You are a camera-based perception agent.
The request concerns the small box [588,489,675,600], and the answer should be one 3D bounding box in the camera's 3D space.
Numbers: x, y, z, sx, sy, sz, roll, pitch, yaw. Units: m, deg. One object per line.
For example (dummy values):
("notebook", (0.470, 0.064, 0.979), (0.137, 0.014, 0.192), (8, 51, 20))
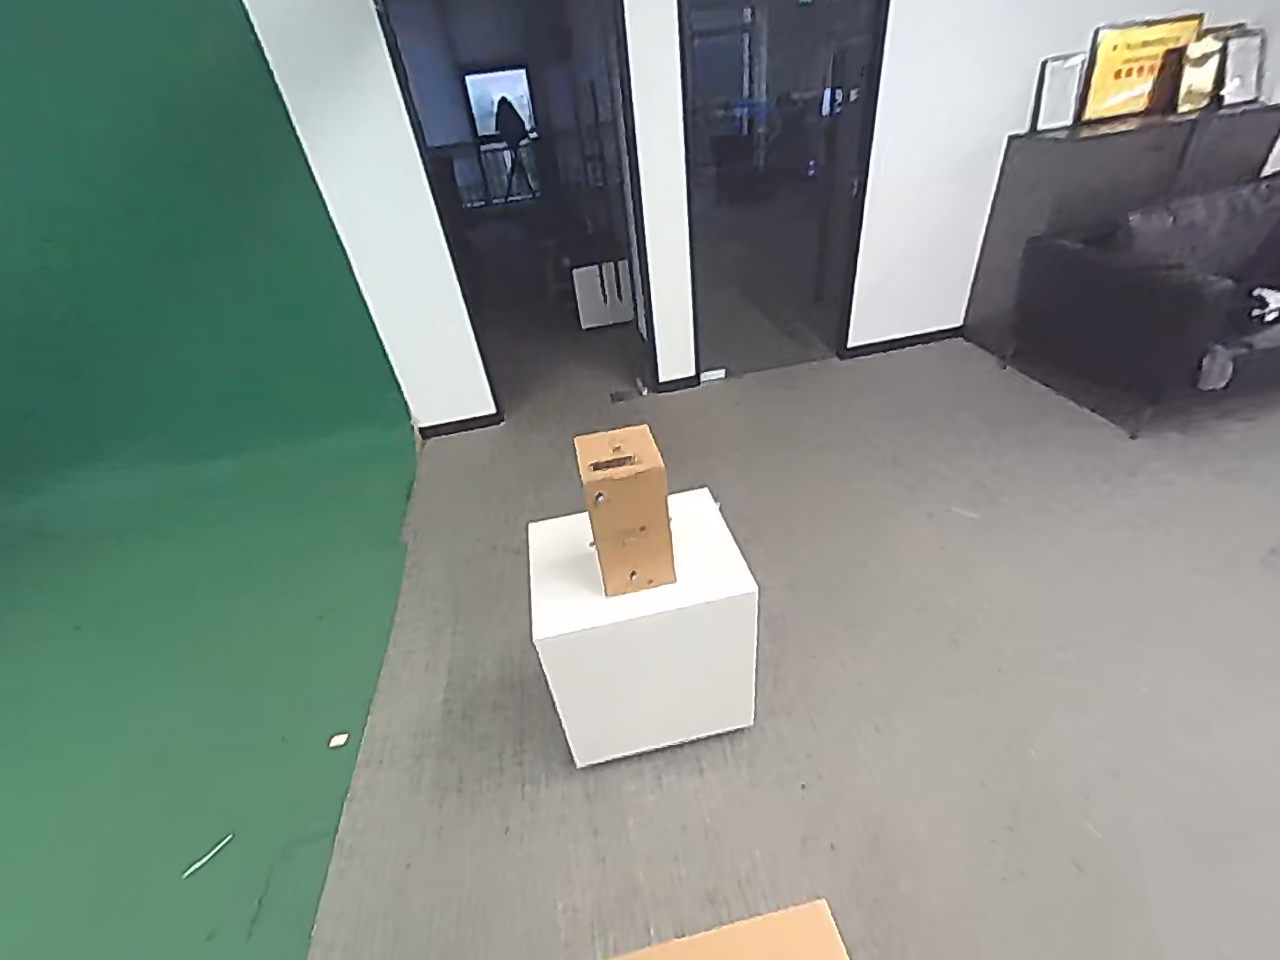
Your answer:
("small box", (-0.021, 0.147, 1.248), (0.168, 0.176, 0.179), (-12, 34, -6))
